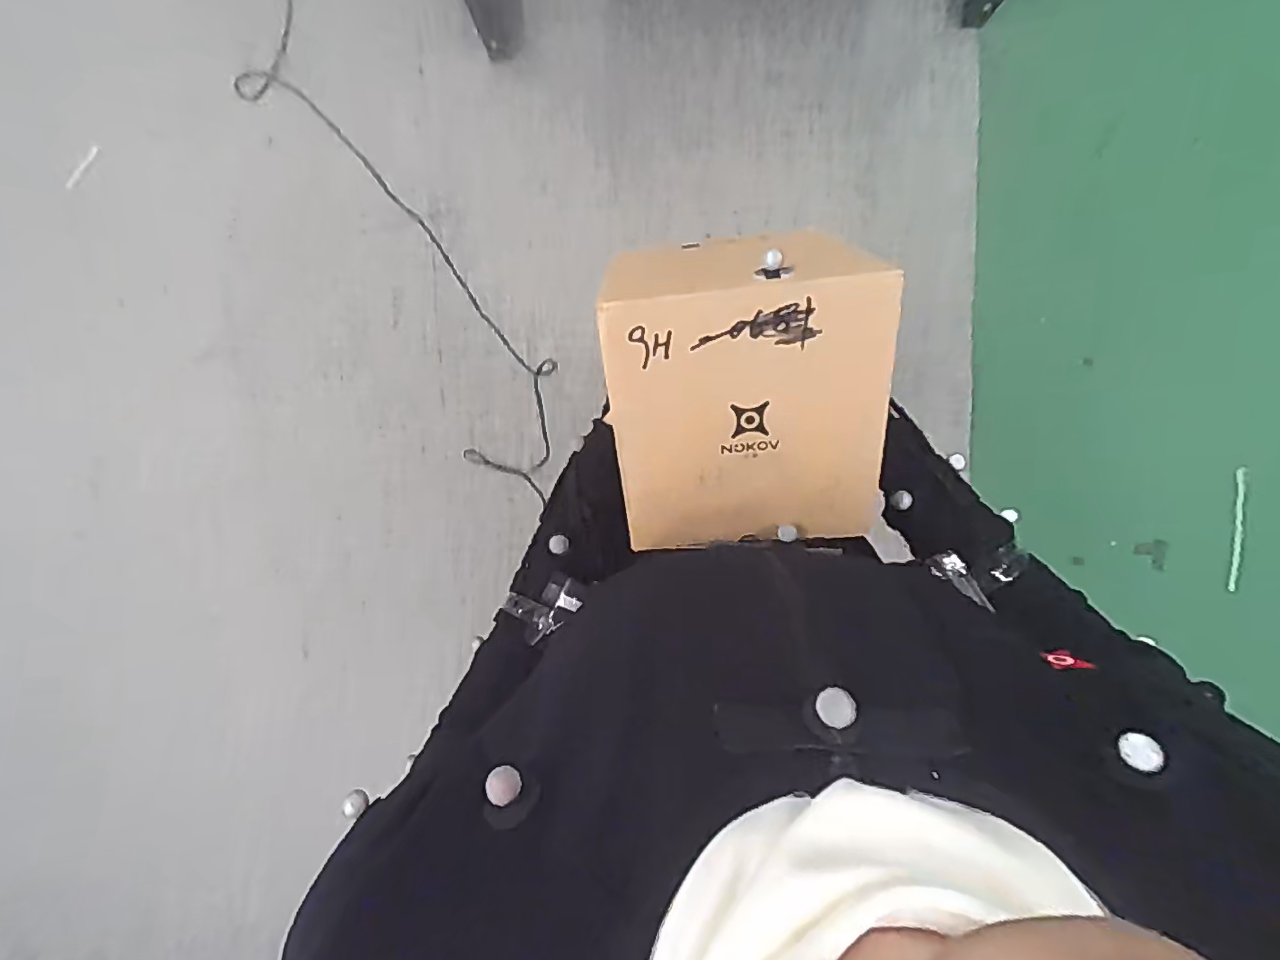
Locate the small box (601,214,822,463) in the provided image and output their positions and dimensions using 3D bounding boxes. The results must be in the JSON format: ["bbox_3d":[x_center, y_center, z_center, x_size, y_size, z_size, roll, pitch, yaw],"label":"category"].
[{"bbox_3d":[0.073,-0.147,0.549,0.168,0.176,0.179,-15,119,11],"label":"small box"}]
